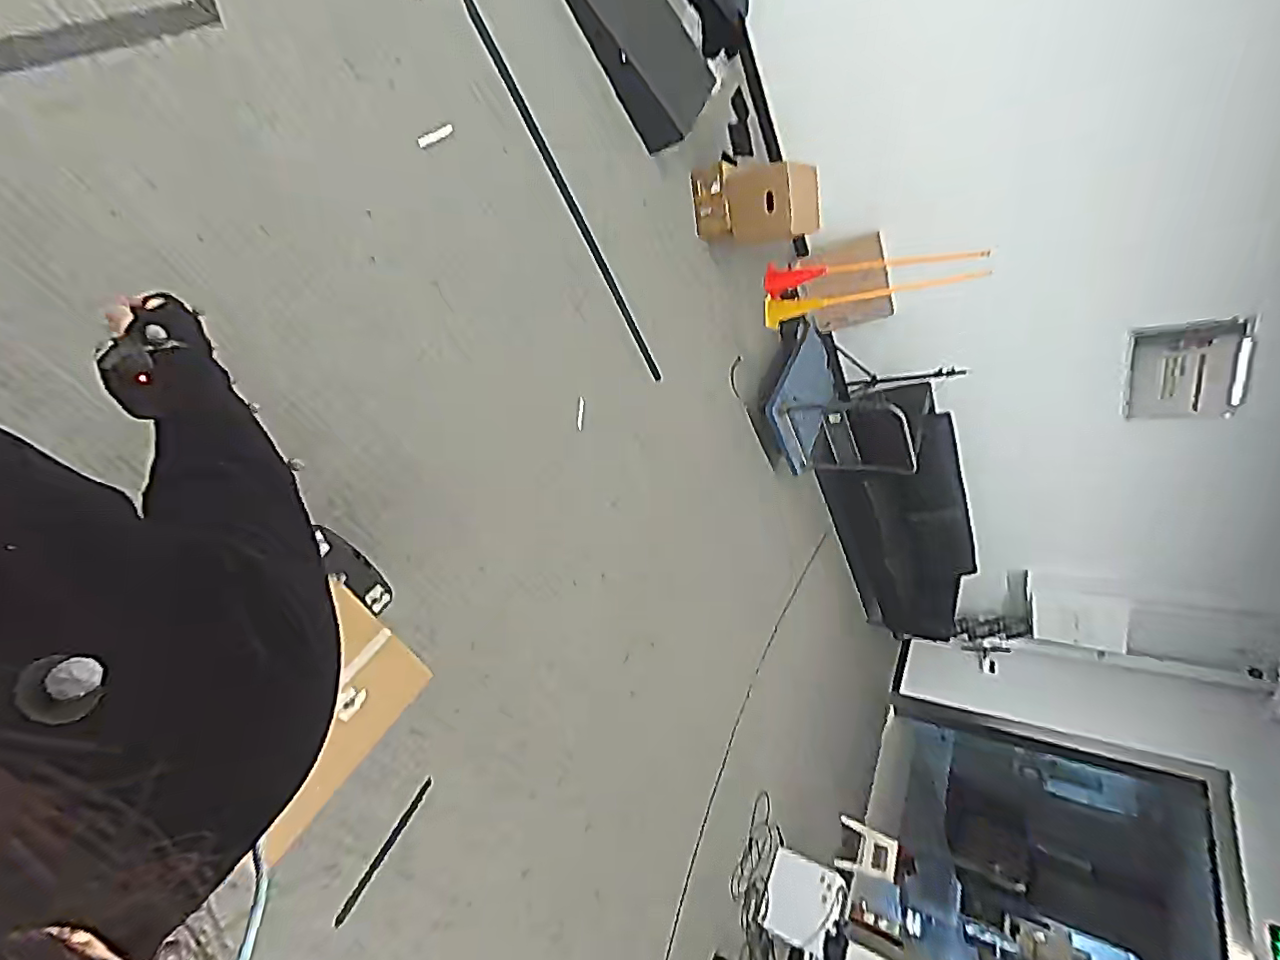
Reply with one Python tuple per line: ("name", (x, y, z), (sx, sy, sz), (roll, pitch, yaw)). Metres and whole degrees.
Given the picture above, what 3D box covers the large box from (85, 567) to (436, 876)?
("large box", (-0.697, 0.423, 1.034), (0.408, 0.320, 0.320), (-54, 129, -37))
